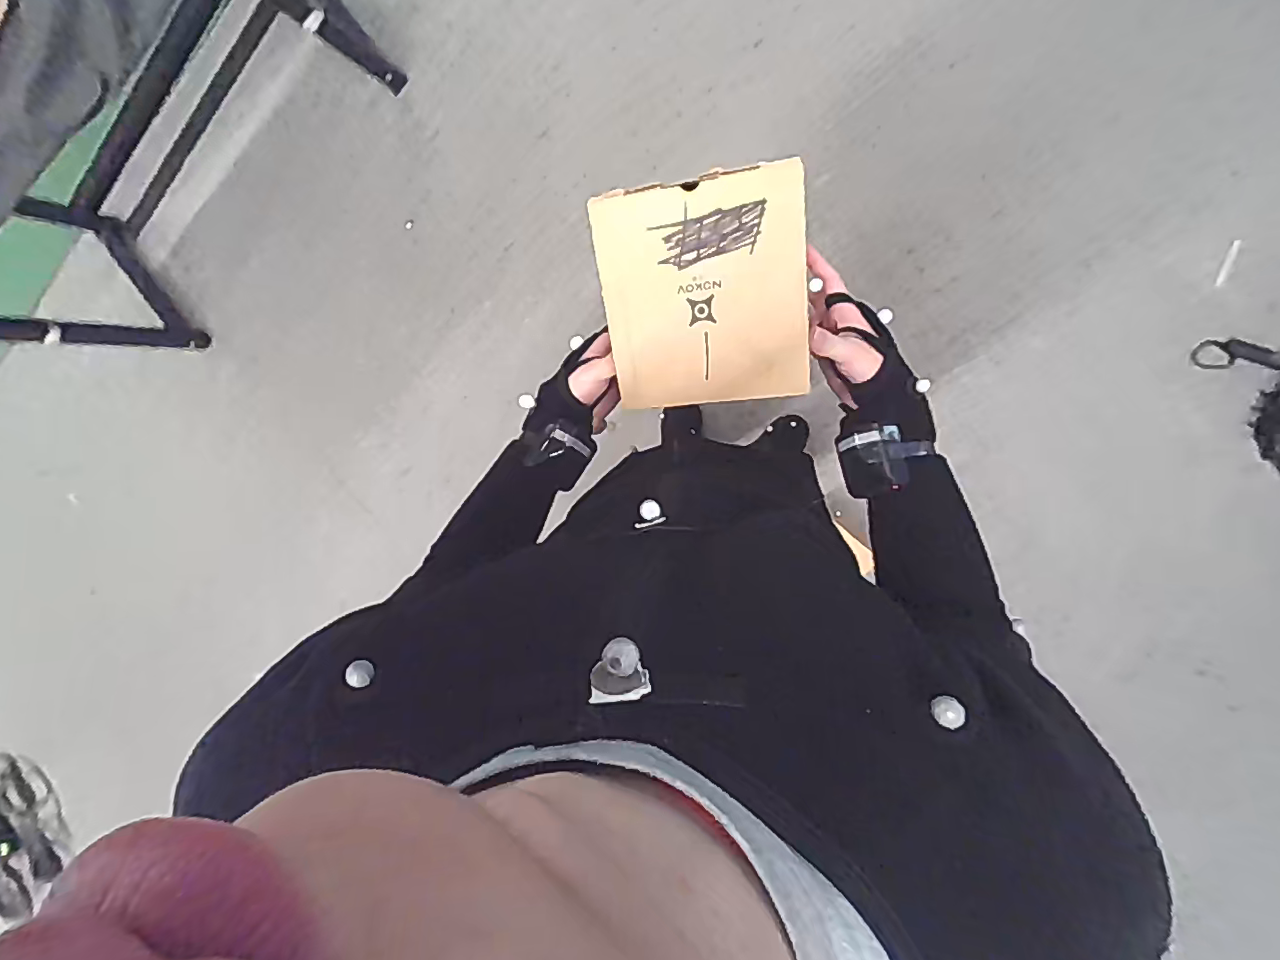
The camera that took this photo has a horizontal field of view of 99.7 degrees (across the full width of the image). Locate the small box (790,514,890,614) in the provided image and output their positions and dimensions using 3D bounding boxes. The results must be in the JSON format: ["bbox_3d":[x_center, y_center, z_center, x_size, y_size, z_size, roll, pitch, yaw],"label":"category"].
[{"bbox_3d":[0.509,0.206,1.400,0.179,0.176,0.168,40,109,5],"label":"small box"}]
